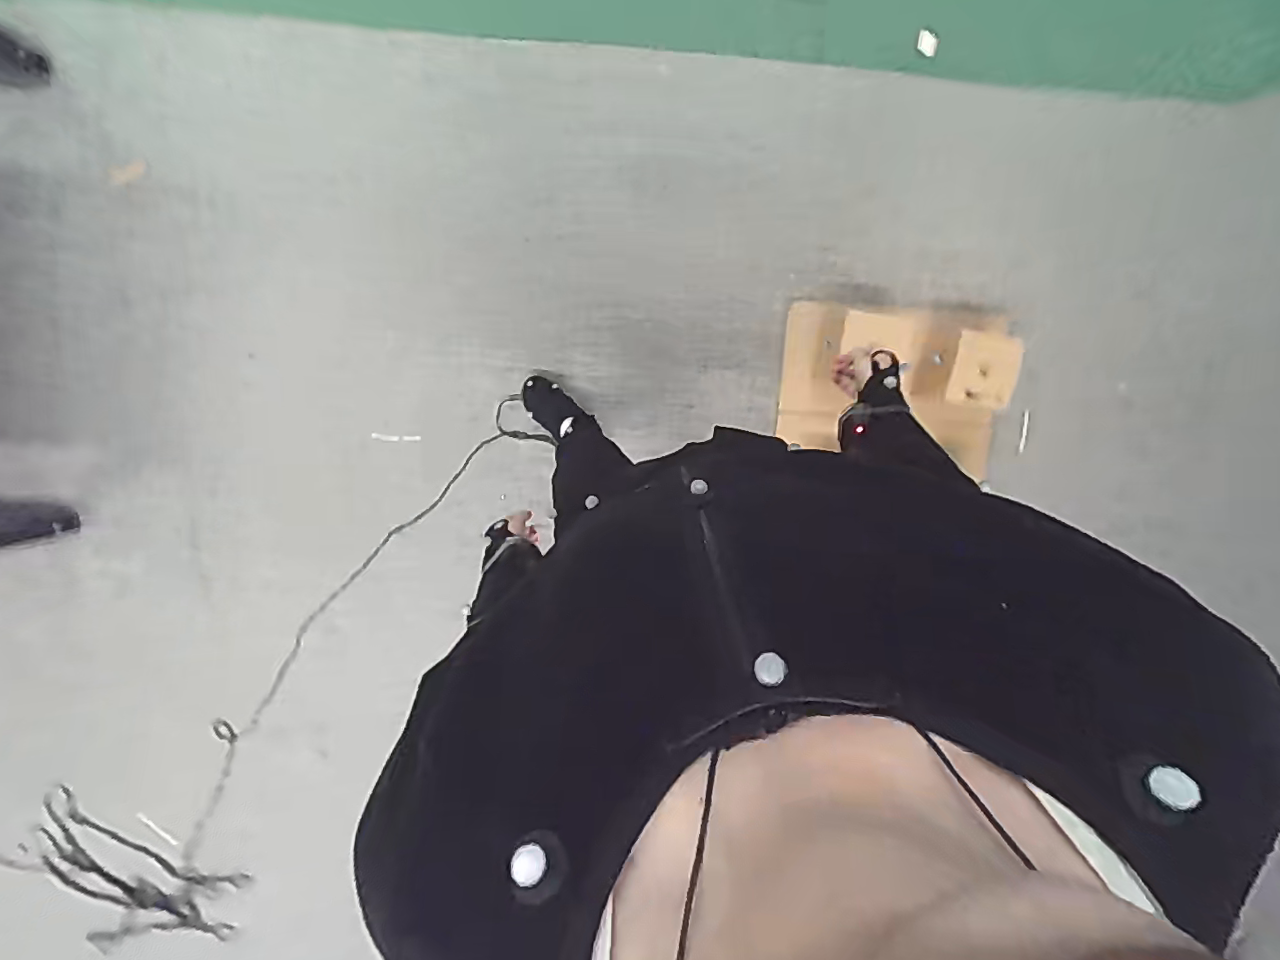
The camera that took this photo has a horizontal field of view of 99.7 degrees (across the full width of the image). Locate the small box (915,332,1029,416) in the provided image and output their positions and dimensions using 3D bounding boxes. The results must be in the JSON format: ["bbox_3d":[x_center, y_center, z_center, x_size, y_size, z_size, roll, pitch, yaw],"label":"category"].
[{"bbox_3d":[0.843,-0.268,1.392,0.168,0.176,0.179,10,98,-4],"label":"small box"}]

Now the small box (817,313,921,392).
[{"bbox_3d":[0.571,-0.316,1.374,0.179,0.176,0.168,9,99,-4],"label":"small box"}]
